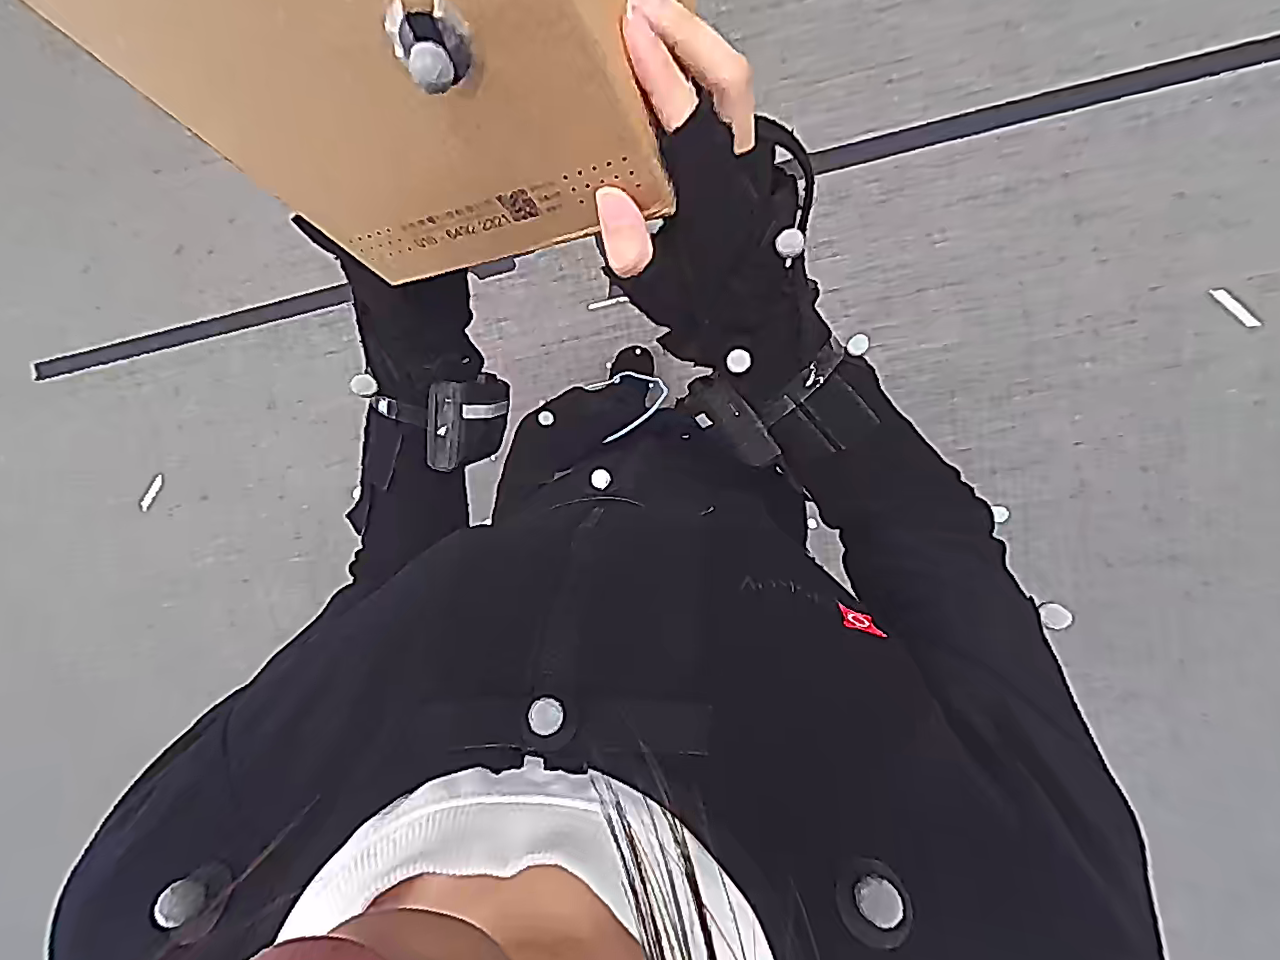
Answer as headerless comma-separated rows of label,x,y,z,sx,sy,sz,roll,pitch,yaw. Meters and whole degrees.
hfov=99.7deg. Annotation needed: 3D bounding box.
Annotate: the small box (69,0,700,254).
small box,-0.079,-0.221,0.228,0.168,0.176,0.179,-1,71,24
